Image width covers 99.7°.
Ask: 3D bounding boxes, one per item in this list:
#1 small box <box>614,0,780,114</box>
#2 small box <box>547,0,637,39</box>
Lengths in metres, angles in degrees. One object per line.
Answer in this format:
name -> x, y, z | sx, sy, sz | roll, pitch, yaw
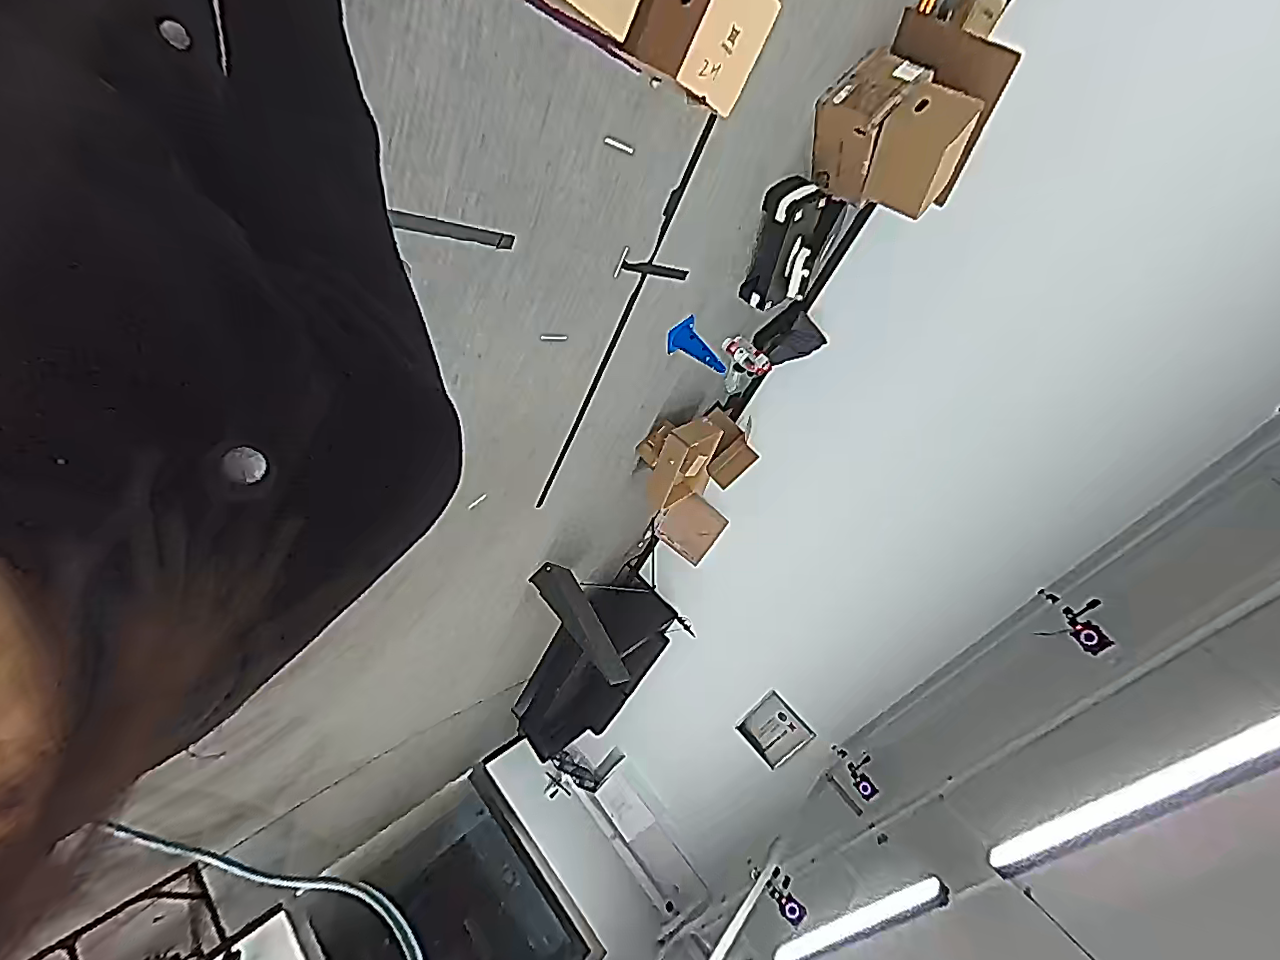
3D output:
small box -> 0.086, -0.744, 0.873 | 0.168, 0.176, 0.179 | -14, 142, -51
small box -> -0.089, -0.697, 0.653 | 0.168, 0.176, 0.179 | -15, 144, -51
